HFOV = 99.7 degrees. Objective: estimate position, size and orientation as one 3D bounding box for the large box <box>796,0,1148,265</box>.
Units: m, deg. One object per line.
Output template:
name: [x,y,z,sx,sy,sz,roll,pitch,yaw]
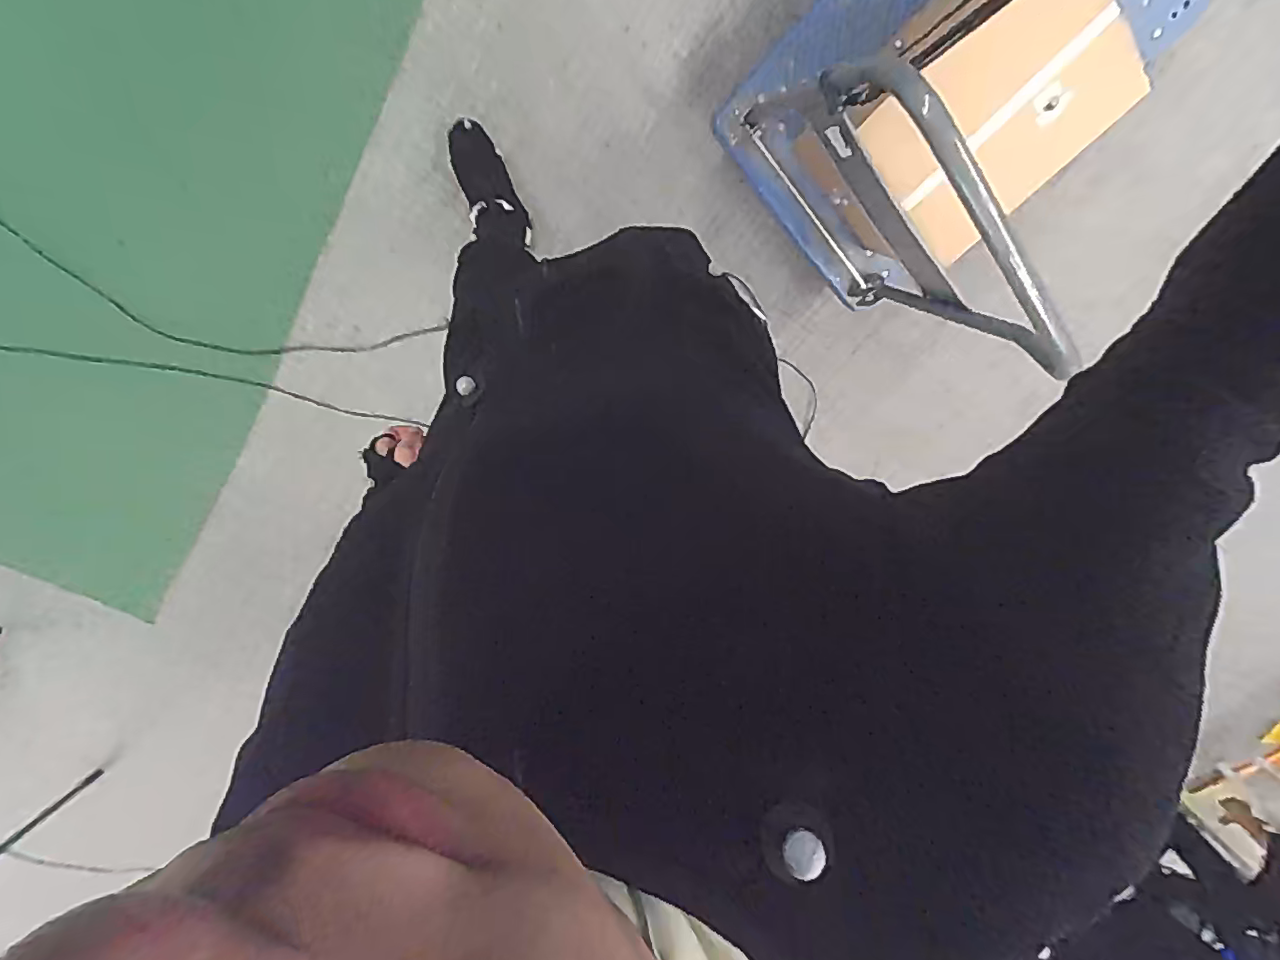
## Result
large box: [0.578,-0.685,1.016,0.408,0.320,0.320,-42,115,18]
